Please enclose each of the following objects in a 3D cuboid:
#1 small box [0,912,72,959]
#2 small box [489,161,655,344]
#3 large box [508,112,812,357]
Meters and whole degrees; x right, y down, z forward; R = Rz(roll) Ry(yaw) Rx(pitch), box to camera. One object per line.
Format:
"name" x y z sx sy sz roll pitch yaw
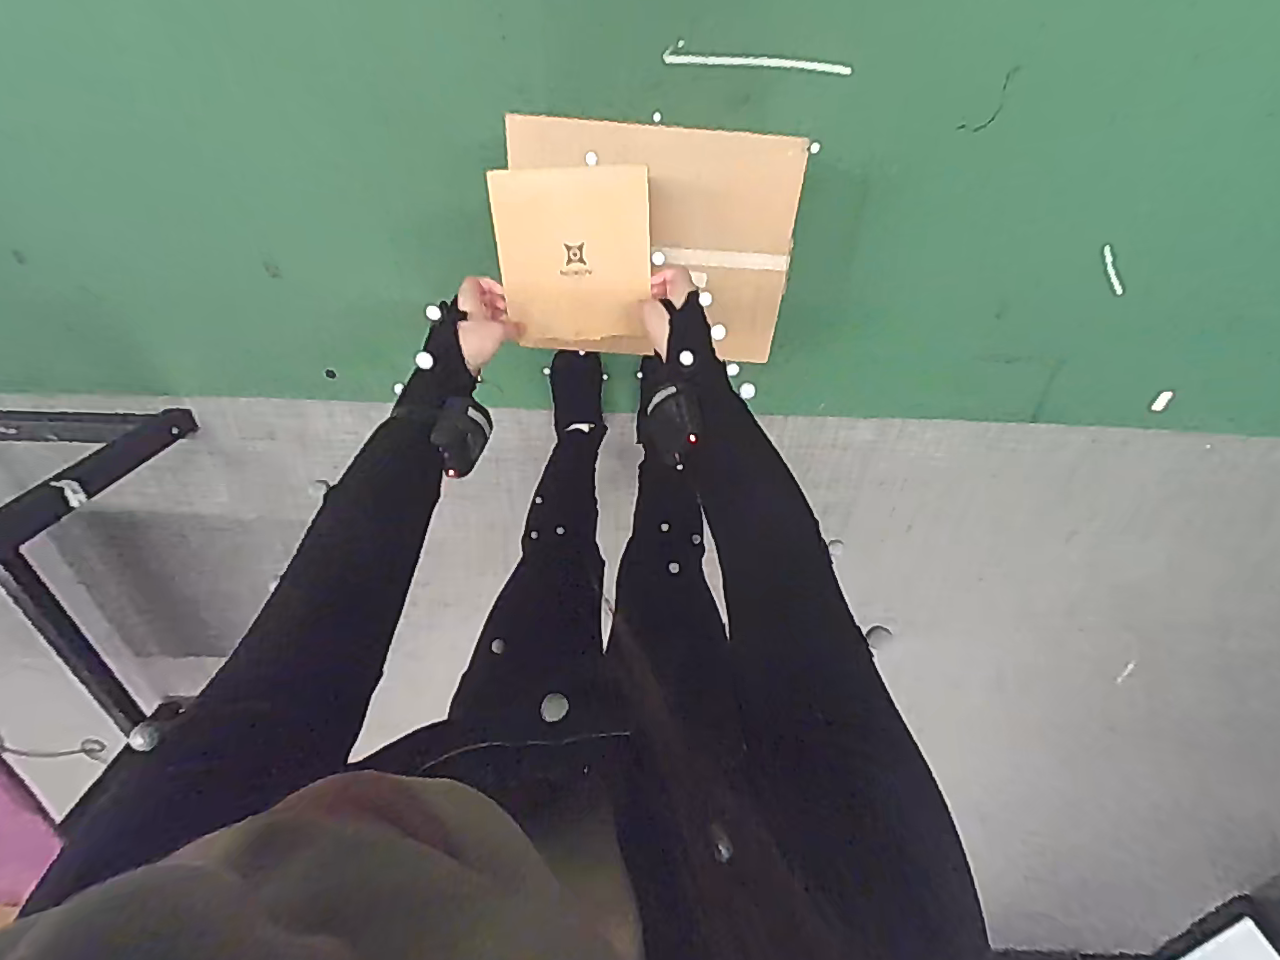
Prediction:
"small box" -1.204 0.897 0.963 0.179 0.176 0.168 2 123 1
"small box" -0.069 -0.272 0.643 0.168 0.176 0.179 -3 120 0
"large box" 0.018 -0.411 0.903 0.408 0.320 0.320 3 123 -2
